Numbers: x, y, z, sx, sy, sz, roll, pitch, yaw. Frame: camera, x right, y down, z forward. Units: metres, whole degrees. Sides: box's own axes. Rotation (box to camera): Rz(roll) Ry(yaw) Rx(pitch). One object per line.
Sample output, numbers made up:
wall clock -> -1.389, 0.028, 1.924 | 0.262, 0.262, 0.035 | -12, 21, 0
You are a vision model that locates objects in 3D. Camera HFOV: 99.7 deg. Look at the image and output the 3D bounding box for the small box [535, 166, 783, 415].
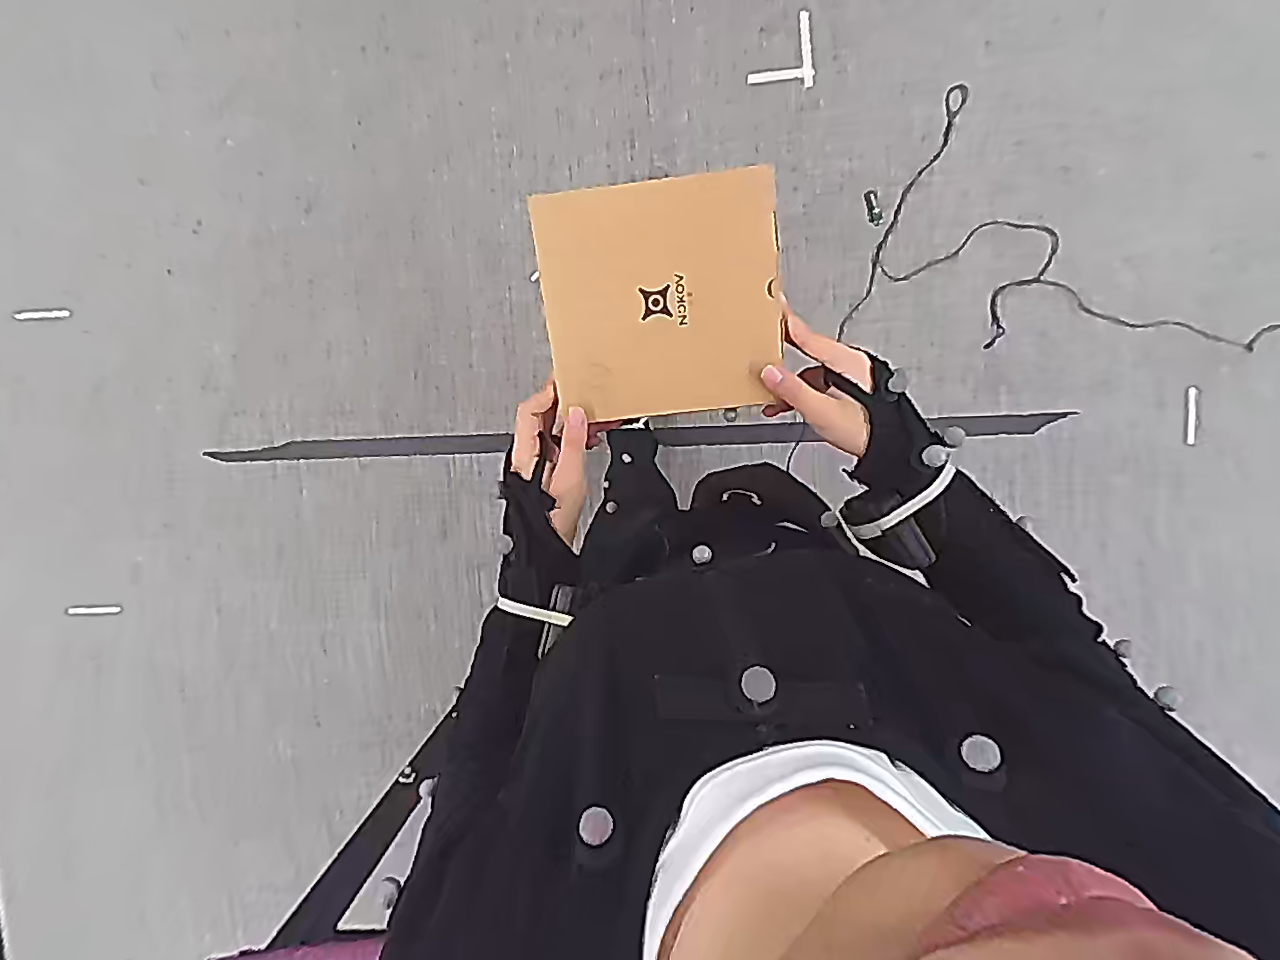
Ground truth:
small box -> 0.020, -0.155, 0.485 | 0.179, 0.176, 0.168 | -6, 104, 3
